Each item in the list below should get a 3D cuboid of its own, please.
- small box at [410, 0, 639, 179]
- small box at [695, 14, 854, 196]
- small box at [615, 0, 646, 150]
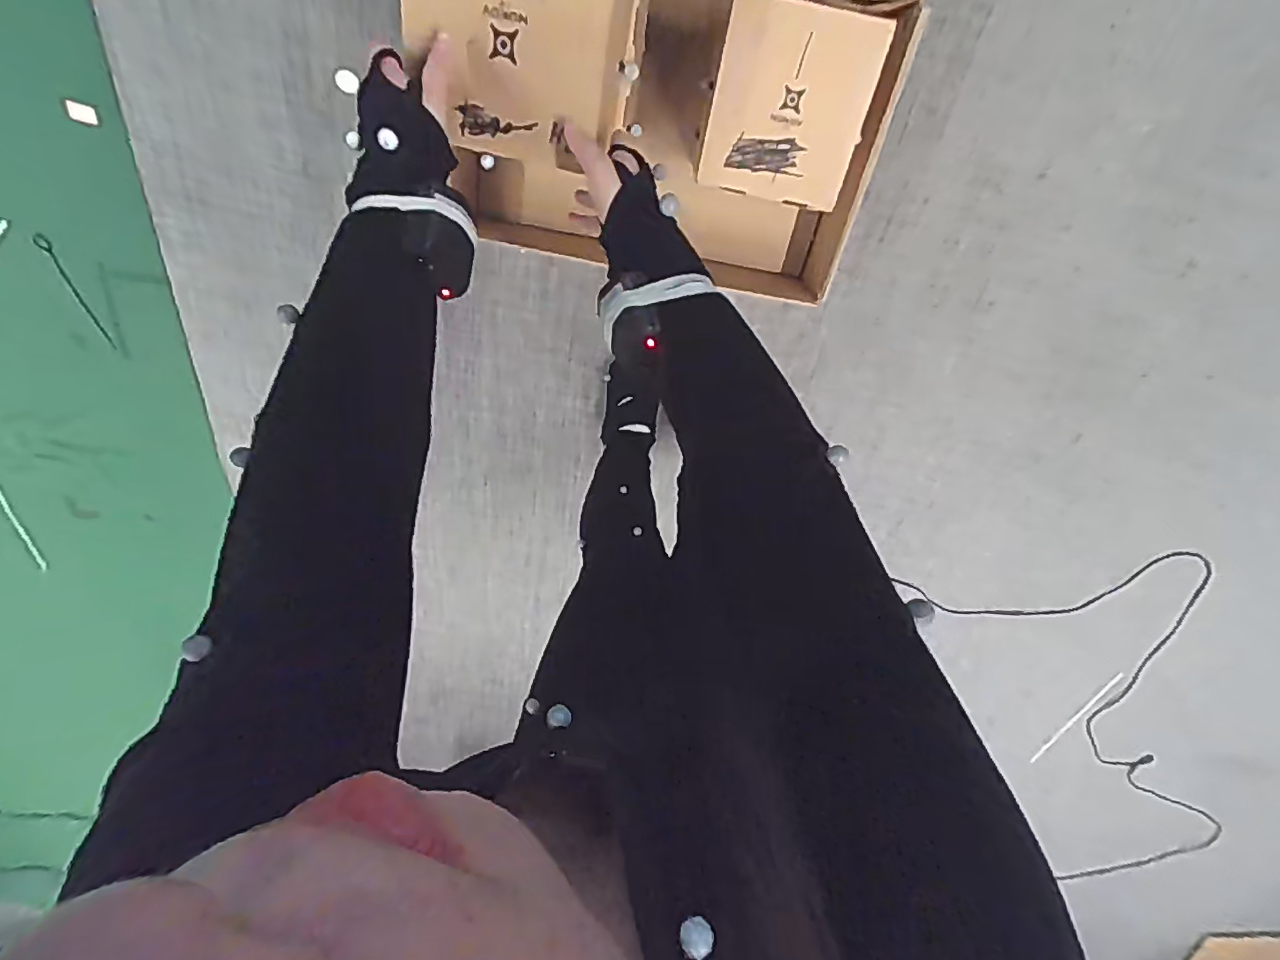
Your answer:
[{"bbox_3d":[-0.097,-0.399,0.496,0.168,0.176,0.179,12,124,-4],"label":"small box"},{"bbox_3d":[0.180,-0.533,0.780,0.168,0.176,0.179,10,125,-2],"label":"small box"},{"bbox_3d":[-0.089,-0.584,0.769,0.168,0.176,0.179,13,124,-5],"label":"small box"}]
